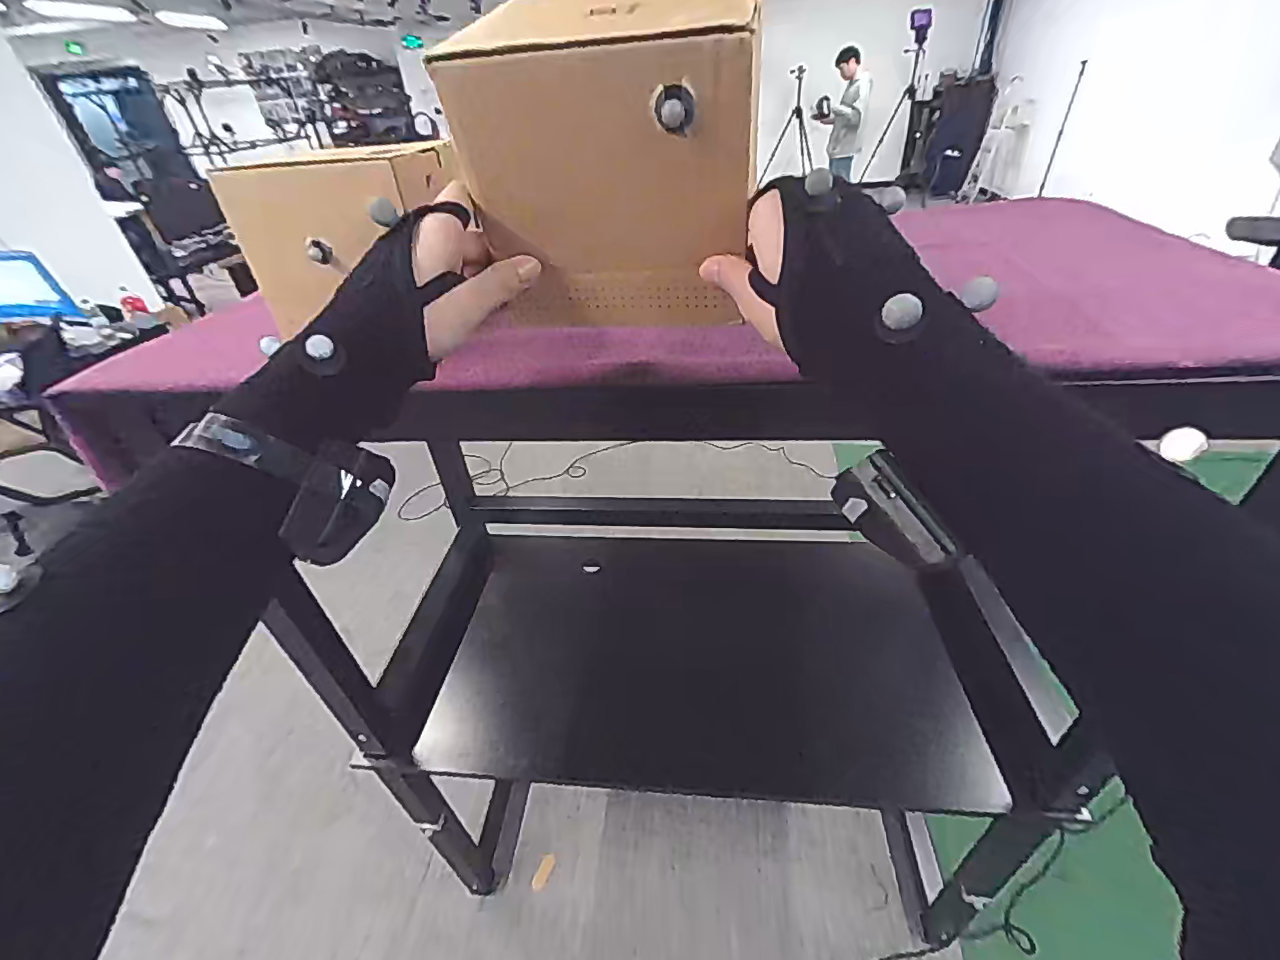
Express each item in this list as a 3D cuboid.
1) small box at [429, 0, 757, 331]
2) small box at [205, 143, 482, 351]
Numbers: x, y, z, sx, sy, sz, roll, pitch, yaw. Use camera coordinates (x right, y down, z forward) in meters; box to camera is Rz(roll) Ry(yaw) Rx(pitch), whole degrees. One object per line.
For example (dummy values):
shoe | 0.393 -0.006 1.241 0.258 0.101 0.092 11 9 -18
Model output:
small box | -0.011 -0.222 0.387 0.179 0.176 0.168 3 50 10
small box | -0.289 -0.249 0.579 0.179 0.176 0.168 -2 36 6
